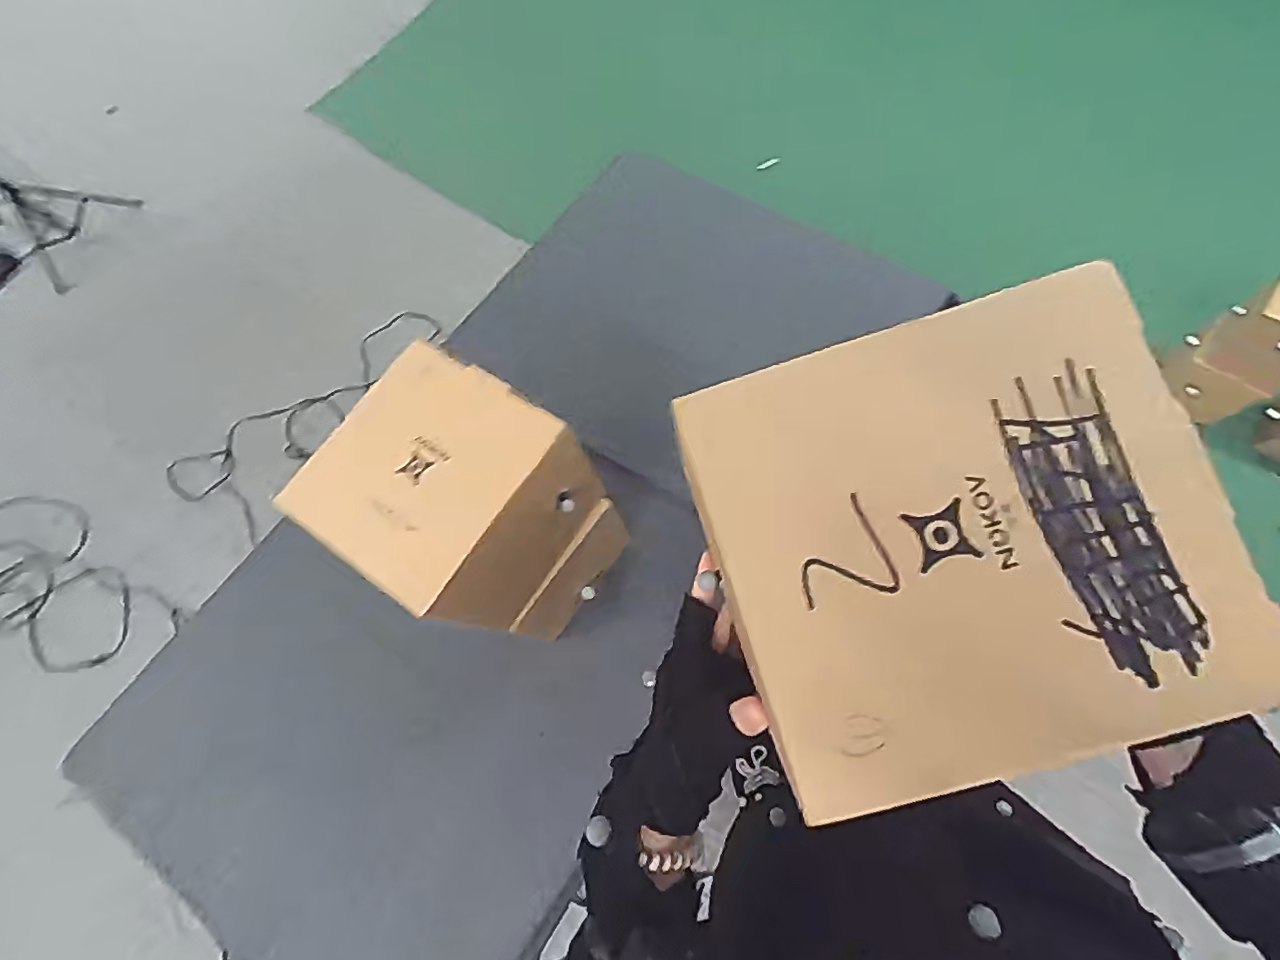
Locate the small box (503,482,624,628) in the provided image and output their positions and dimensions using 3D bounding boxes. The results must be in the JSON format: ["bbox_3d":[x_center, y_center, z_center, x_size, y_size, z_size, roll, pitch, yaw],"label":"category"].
[{"bbox_3d":[-0.140,0.062,0.648,0.179,0.176,0.168,34,77,16],"label":"small box"}]

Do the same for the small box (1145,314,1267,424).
[{"bbox_3d":[1.448,-0.274,1.368,0.168,0.176,0.179,38,78,18],"label":"small box"}]

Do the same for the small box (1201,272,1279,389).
[{"bbox_3d":[1.443,-0.334,1.213,0.179,0.176,0.168,37,78,18],"label":"small box"}]

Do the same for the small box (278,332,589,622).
[{"bbox_3d":[-0.163,0.007,0.495,0.168,0.176,0.179,31,76,17],"label":"small box"}]
